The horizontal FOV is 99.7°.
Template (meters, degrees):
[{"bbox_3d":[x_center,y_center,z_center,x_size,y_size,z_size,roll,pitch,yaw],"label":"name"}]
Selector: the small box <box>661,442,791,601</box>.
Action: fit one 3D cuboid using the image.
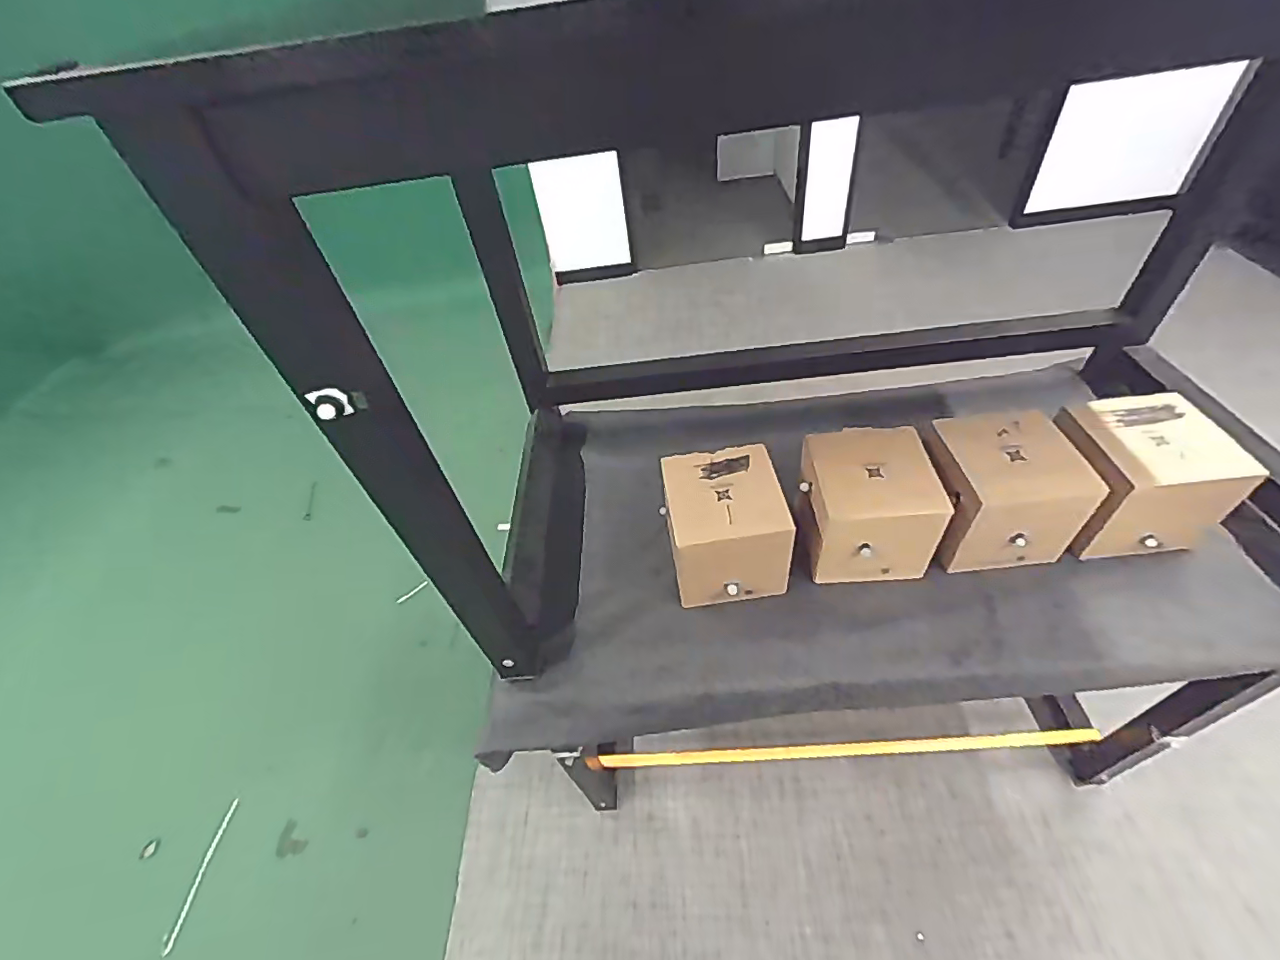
[{"bbox_3d":[0.128,0.067,0.856,0.168,0.176,0.179,-9,47,1],"label":"small box"}]
